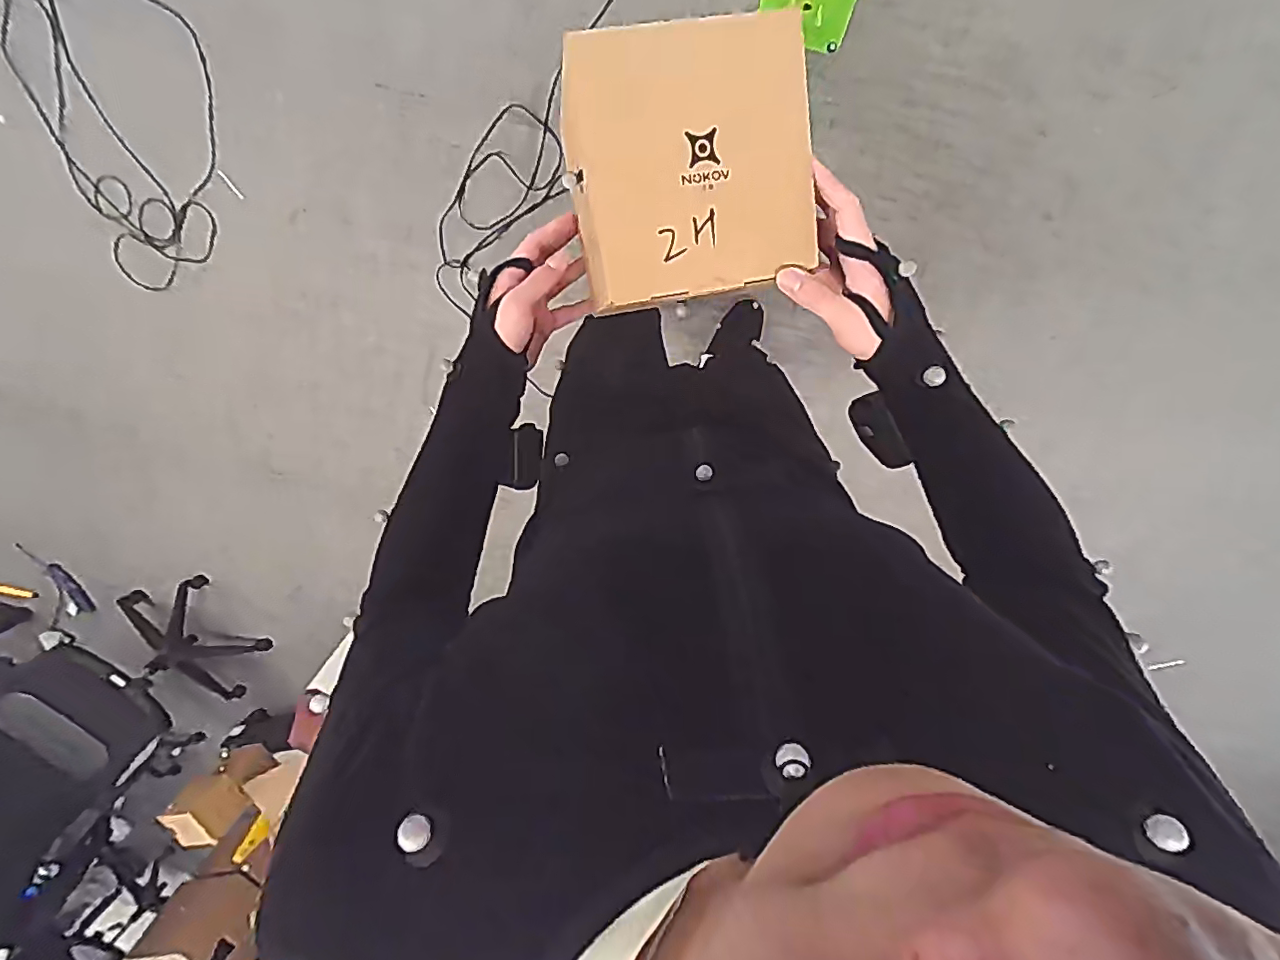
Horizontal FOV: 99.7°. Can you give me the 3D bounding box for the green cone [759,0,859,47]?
[{"bbox_3d":[0.345,-0.997,0.993,0.202,0.368,0.200,18,114,3],"label":"green cone"}]
